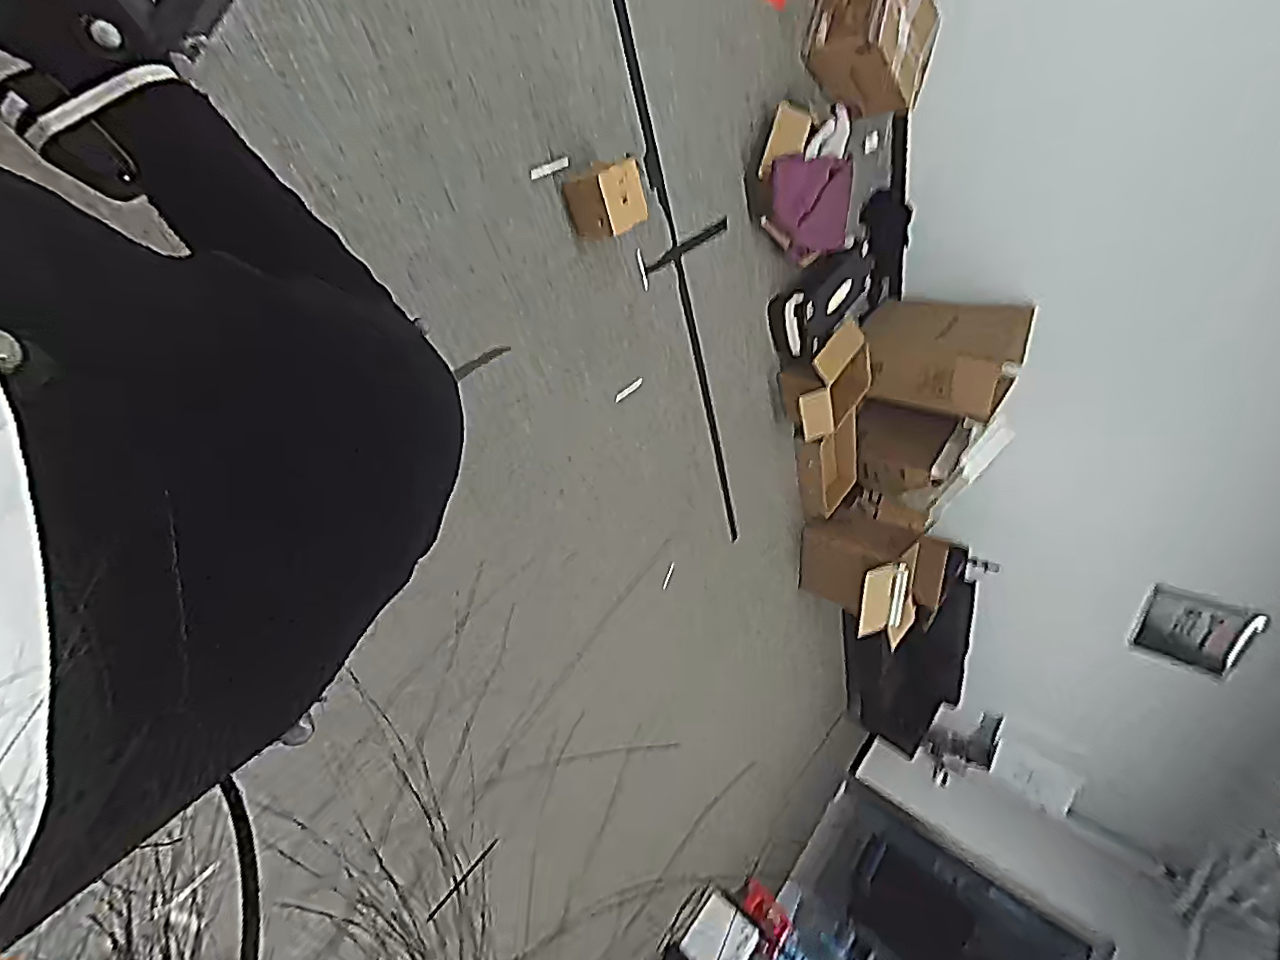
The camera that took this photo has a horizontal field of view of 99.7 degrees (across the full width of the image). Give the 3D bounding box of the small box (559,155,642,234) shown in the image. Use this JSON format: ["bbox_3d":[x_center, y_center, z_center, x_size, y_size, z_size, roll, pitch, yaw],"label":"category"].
[{"bbox_3d":[-0.123,-0.894,1.699,0.168,0.176,0.179,-43,133,-27],"label":"small box"}]
